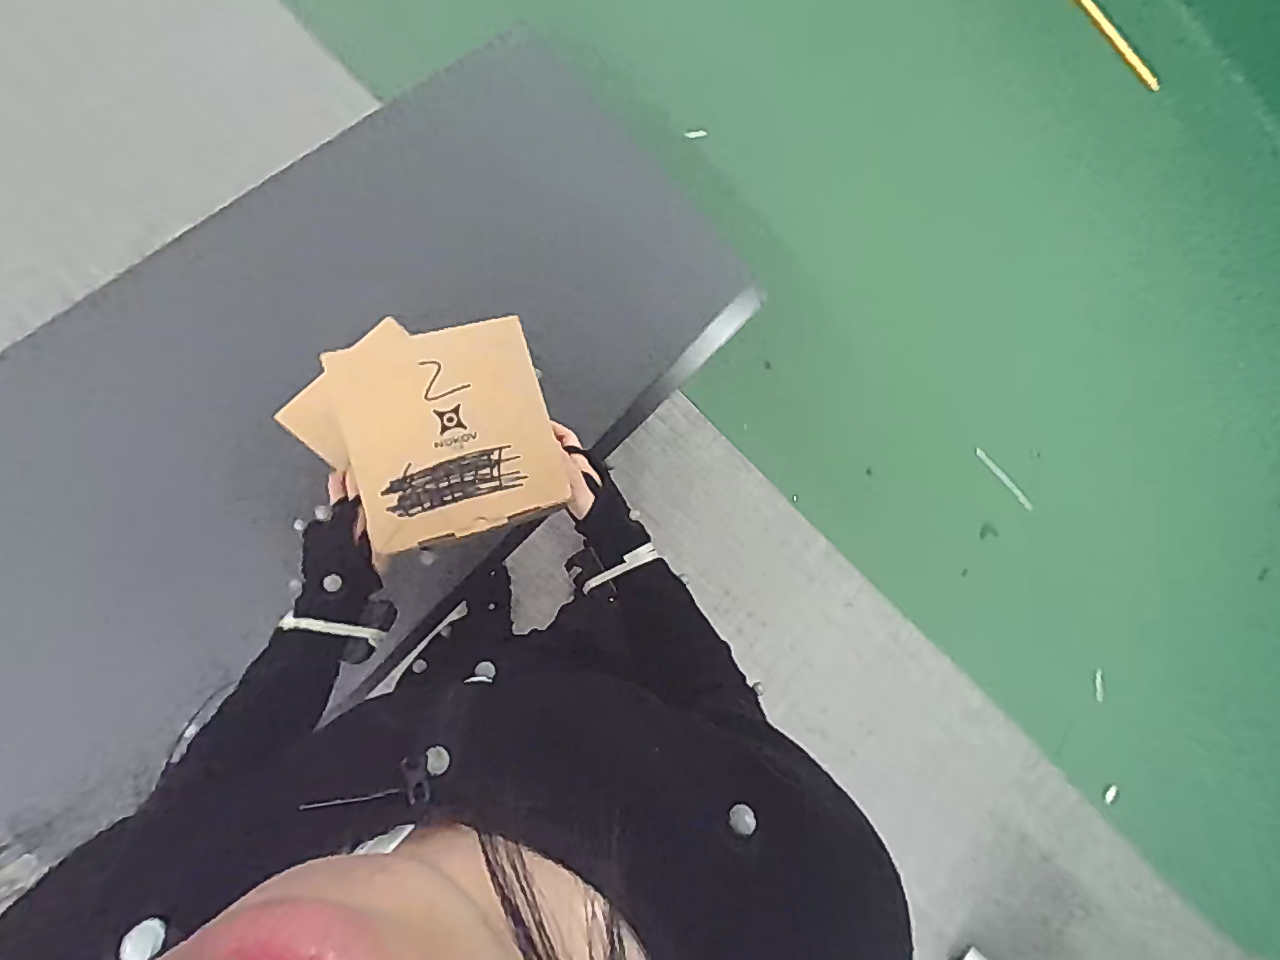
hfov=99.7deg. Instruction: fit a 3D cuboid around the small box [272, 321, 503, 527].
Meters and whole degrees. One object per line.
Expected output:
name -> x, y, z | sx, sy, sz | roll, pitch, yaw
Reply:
small box -> -0.290, -0.053, 0.666 | 0.179, 0.176, 0.168 | 42, 76, -6
